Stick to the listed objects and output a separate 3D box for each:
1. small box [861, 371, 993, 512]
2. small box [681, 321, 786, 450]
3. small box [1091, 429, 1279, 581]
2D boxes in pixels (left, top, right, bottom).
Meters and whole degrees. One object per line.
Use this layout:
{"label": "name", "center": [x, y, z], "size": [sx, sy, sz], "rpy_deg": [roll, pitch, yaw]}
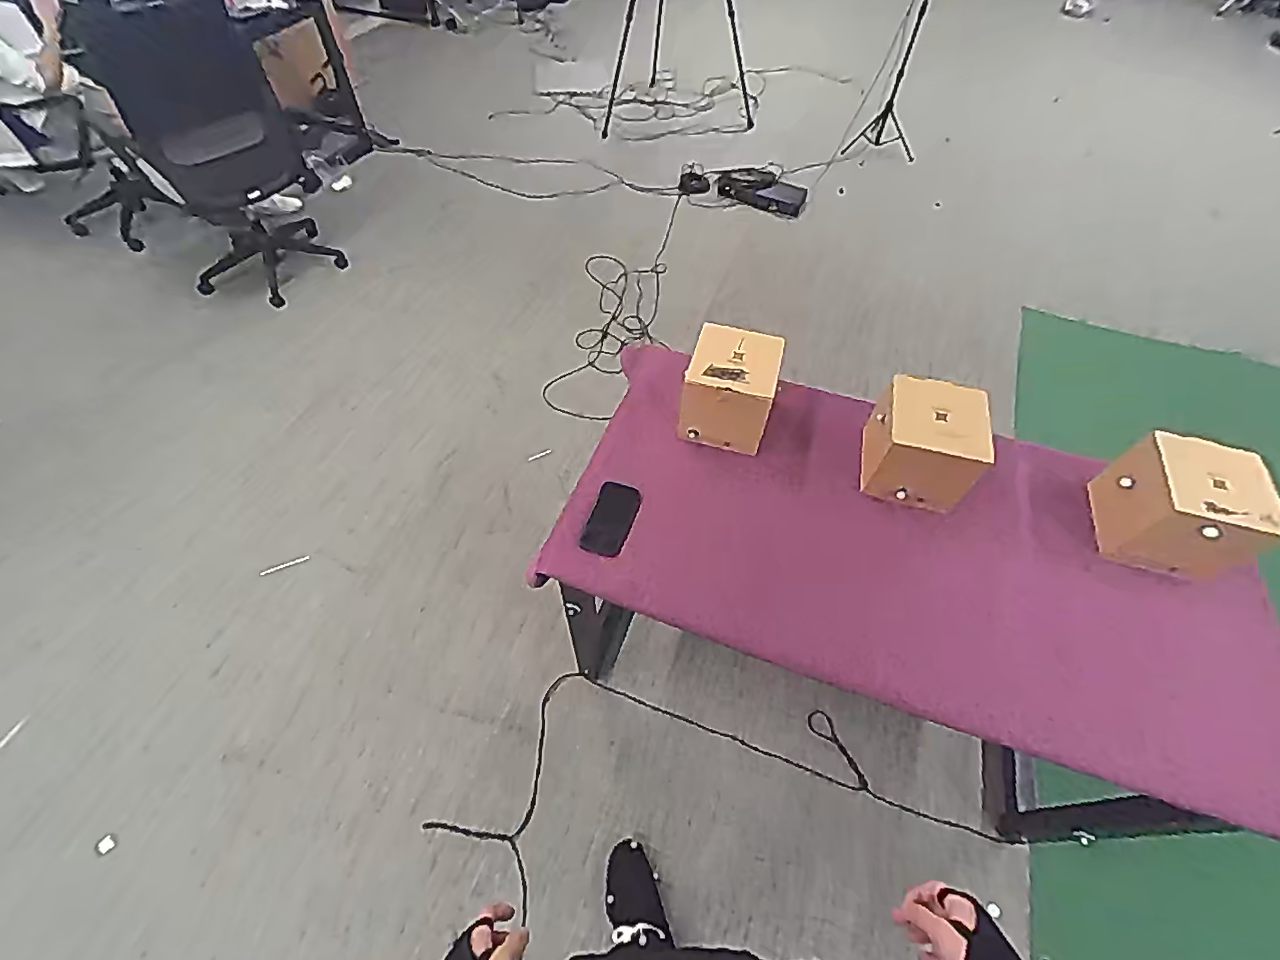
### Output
{"label": "small box", "center": [0.527, -0.070, 1.013], "size": [0.168, 0.176, 0.179], "rpy_deg": [14, 56, 9]}
{"label": "small box", "center": [0.181, -0.185, 1.083], "size": [0.168, 0.176, 0.179], "rpy_deg": [14, 55, 8]}
{"label": "small box", "center": [0.934, 0.046, 0.940], "size": [0.168, 0.176, 0.179], "rpy_deg": [15, 55, 10]}
